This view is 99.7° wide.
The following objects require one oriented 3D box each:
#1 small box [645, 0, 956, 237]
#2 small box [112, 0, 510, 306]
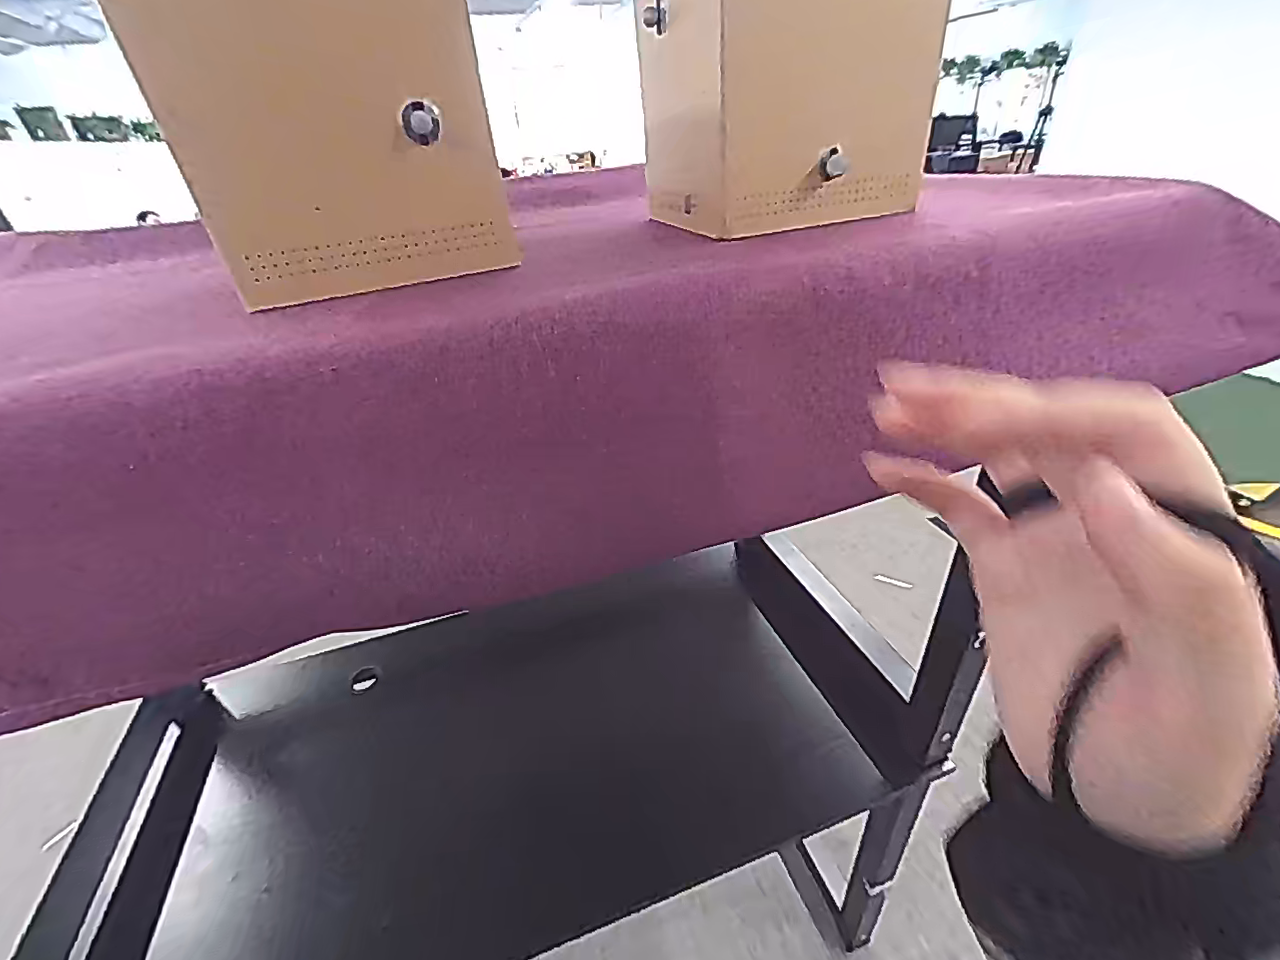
[{"bbox_3d":[0.112,-0.305,0.436,0.179,0.176,0.168,-14,33,-13],"label":"small box"},{"bbox_3d":[-0.199,-0.235,0.378,0.179,0.176,0.168,-18,34,-18],"label":"small box"}]
